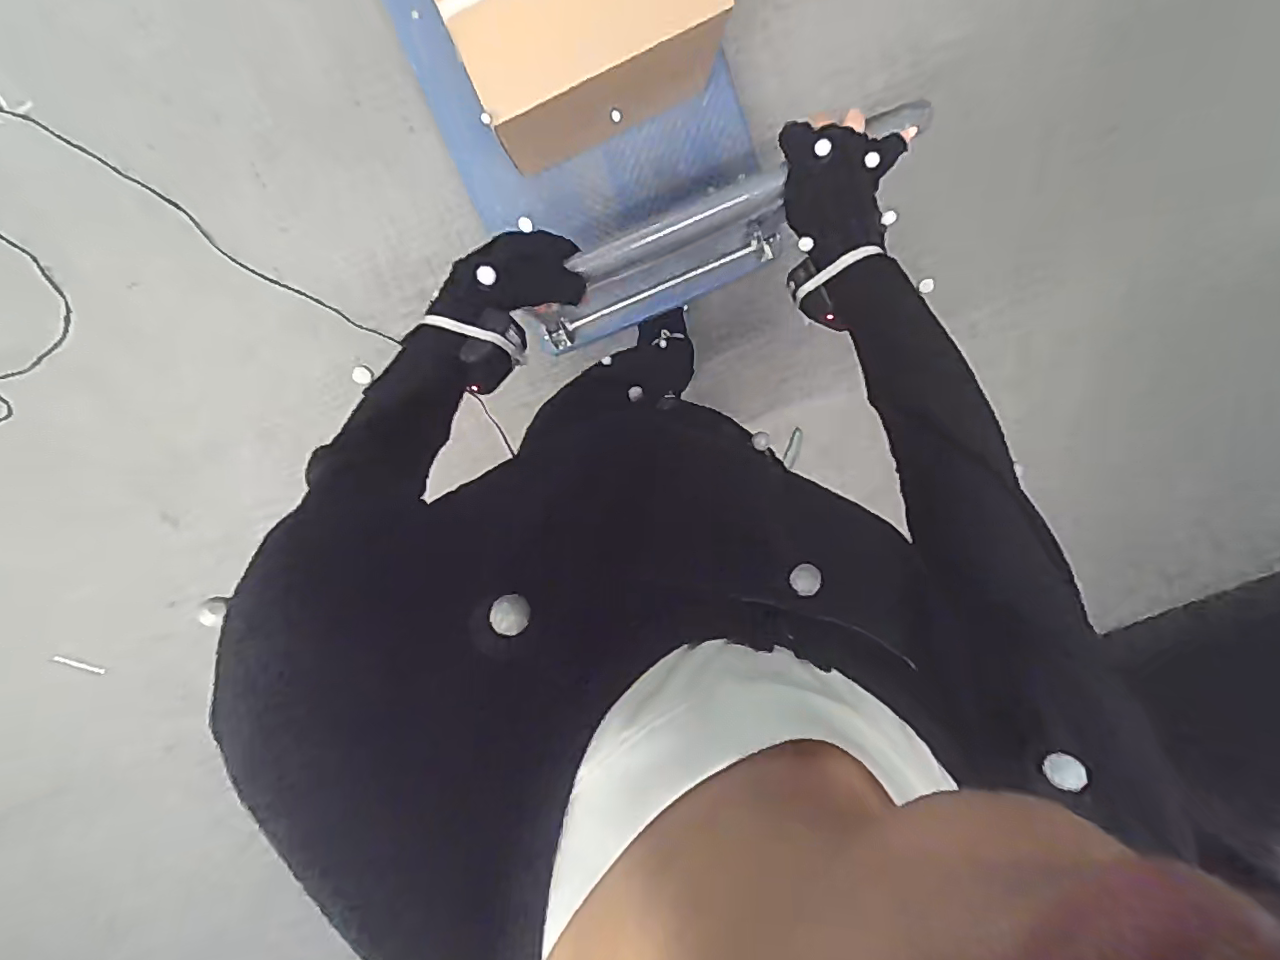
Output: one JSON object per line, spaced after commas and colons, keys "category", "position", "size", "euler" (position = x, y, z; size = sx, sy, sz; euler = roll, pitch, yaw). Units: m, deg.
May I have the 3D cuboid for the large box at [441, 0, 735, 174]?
{"category": "large box", "position": [-0.103, -0.800, 0.924], "size": [0.408, 0.320, 0.320], "euler": [-24, 105, 5]}
